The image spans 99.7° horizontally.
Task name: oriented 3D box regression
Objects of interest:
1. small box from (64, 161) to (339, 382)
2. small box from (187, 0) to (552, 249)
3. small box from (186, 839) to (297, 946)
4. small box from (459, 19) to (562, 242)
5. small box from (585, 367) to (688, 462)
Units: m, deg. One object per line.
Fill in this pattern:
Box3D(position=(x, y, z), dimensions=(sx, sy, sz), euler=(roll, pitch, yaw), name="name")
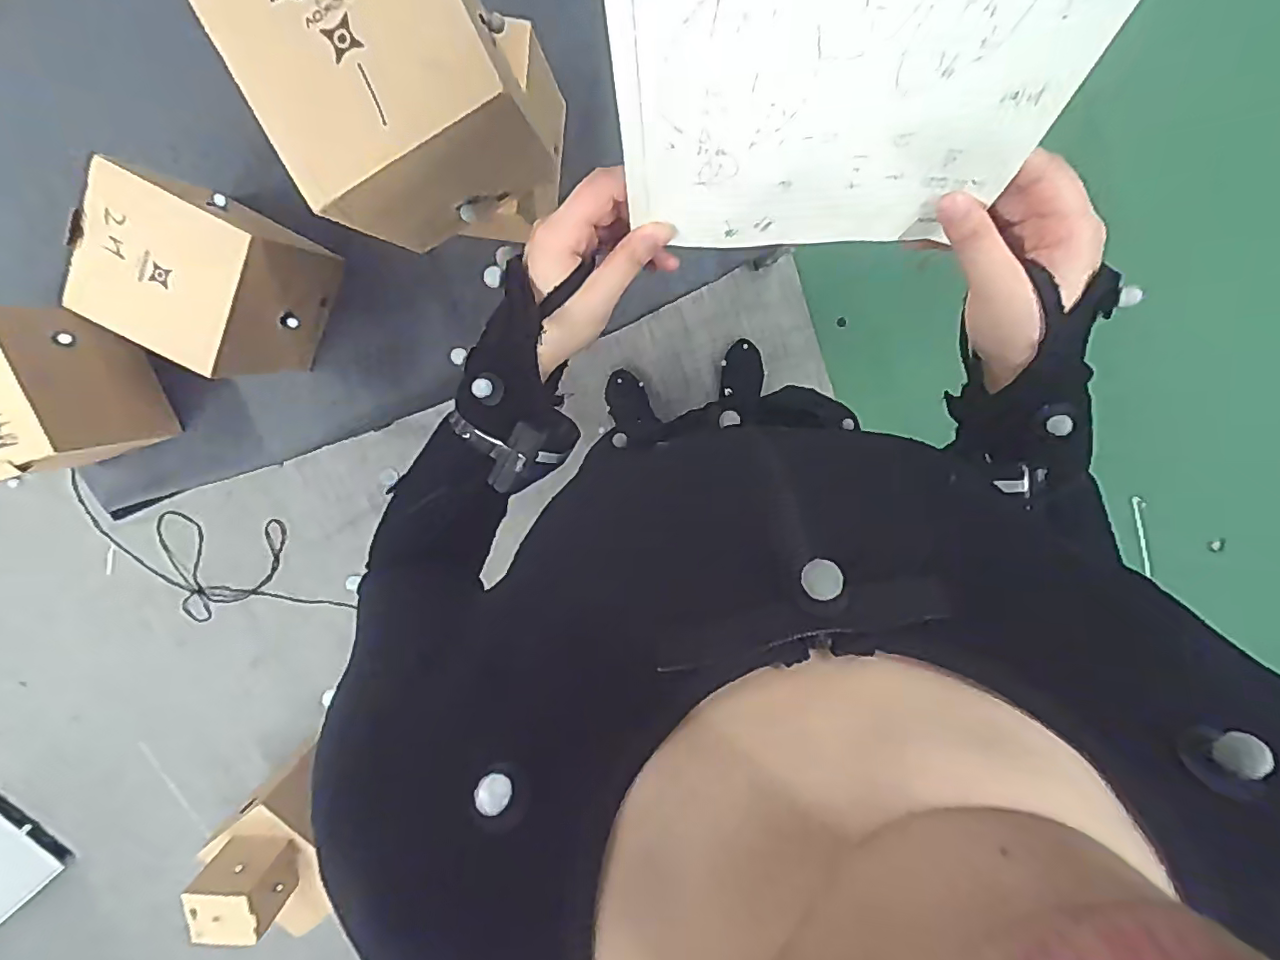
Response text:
Box3D(position=(-0.502, -0.235, 0.644), dimensions=(0.179, 0.176, 0.168), euler=(27, 104, -3), name="small box")
Box3D(position=(-0.194, -0.314, 0.434), dimensions=(0.168, 0.176, 0.179), euler=(-25, 101, 11), name="small box")
Box3D(position=(-1.063, 1.108, 1.463), dimensions=(0.179, 0.176, 0.168), euler=(1, 104, 2), name="small box")
Box3D(position=(-0.189, -0.367, 0.590), dimensions=(0.179, 0.176, 0.168), euler=(8, 104, 3), name="small box")
Box3D(position=(-0.003, -0.162, 1.362), dimensions=(0.176, 0.168, 0.179), euler=(28, 80, -32), name="small box")
